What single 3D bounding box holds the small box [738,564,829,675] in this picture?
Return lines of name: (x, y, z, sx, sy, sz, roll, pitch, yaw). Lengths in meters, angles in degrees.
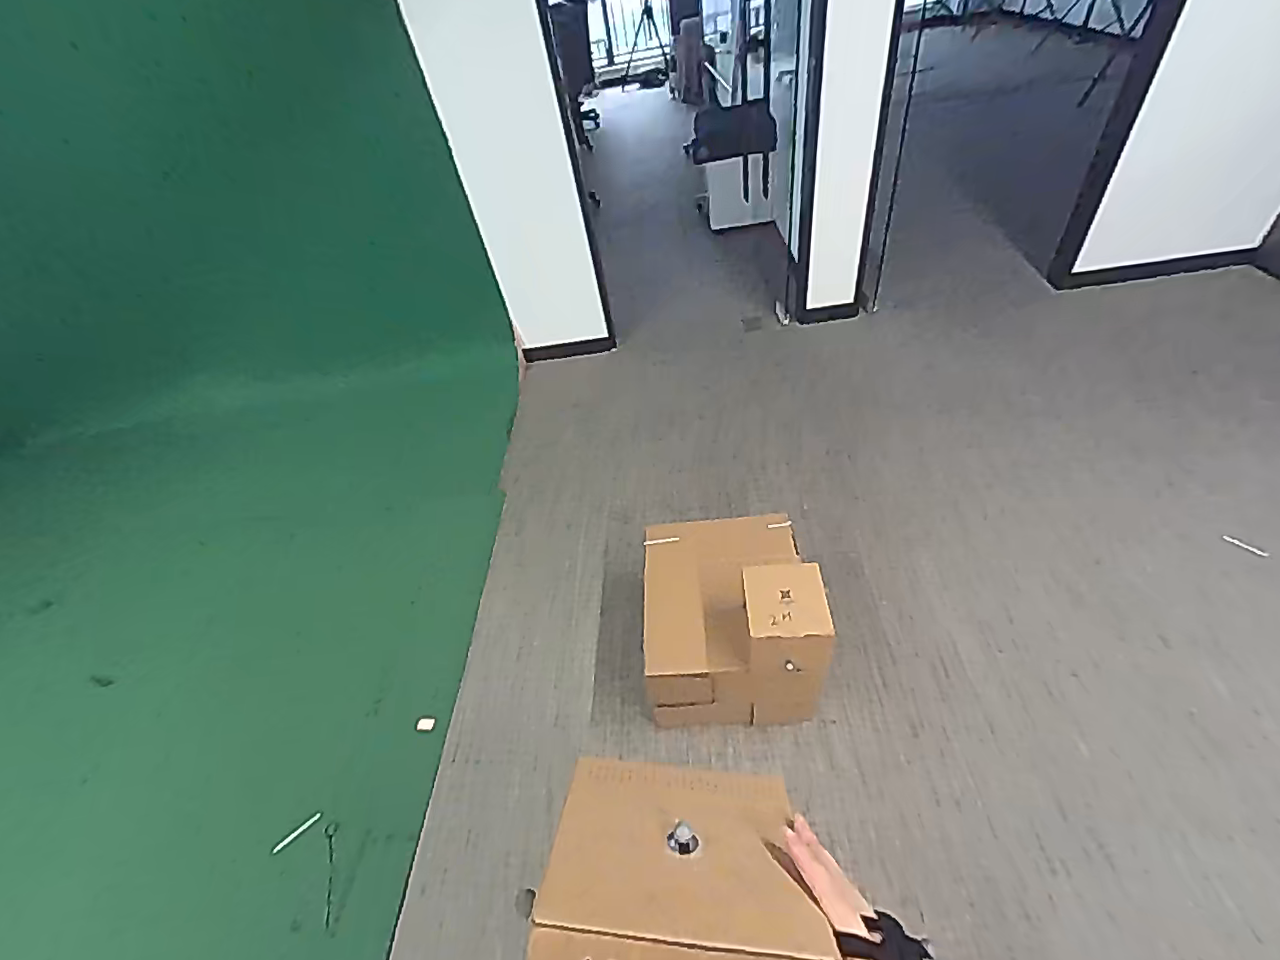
small box: (0.305, 0.306, 1.186, 0.168, 0.176, 0.179, -5, 44, 7)
